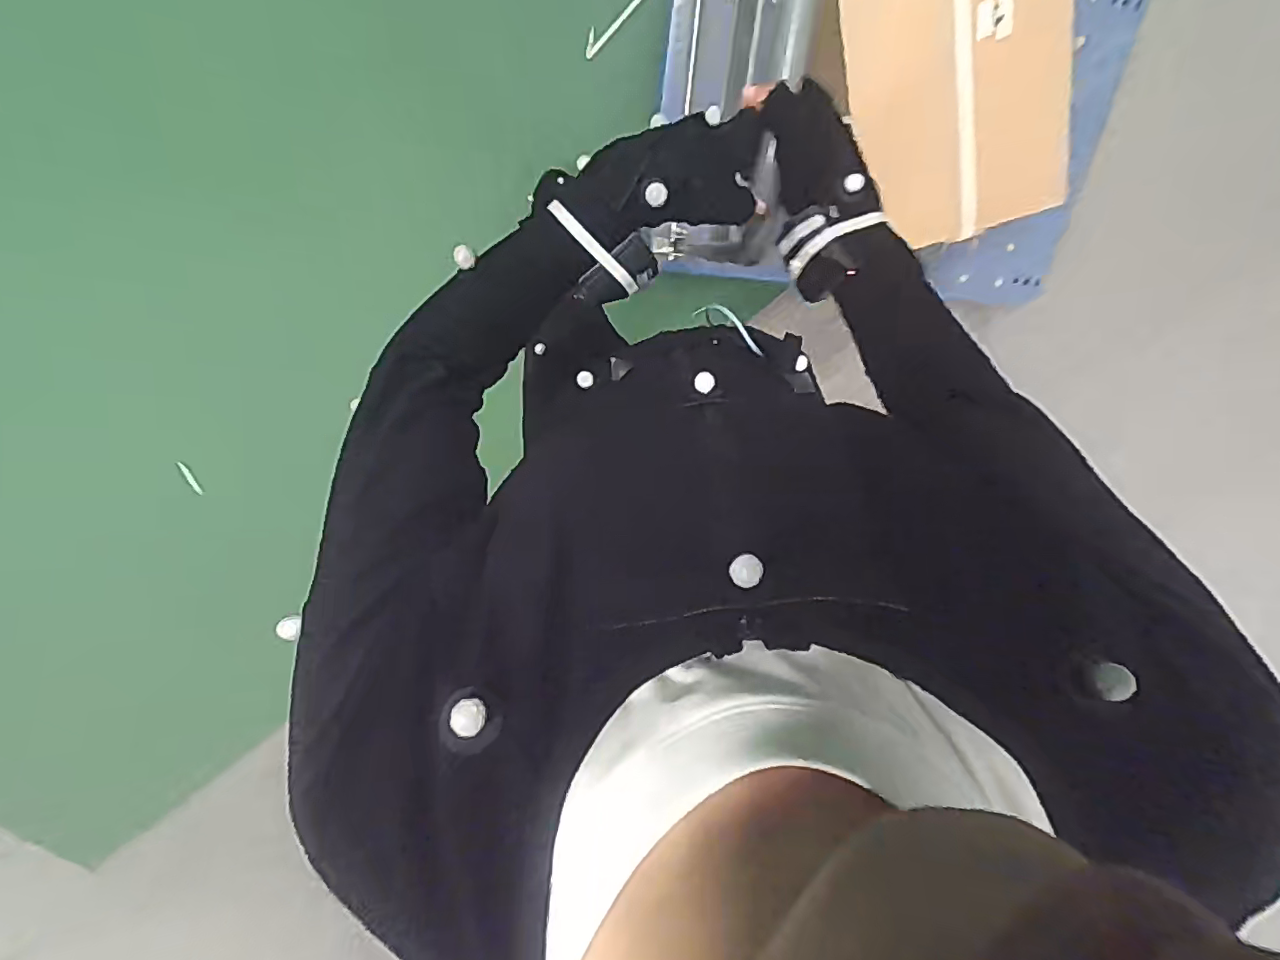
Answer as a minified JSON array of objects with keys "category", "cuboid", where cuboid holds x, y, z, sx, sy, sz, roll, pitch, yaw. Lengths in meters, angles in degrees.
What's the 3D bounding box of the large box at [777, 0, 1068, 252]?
[{"category":"large box","cuboid":[0.448,-0.636,0.906,0.320,0.320,0.408,-16,112,5]}]
